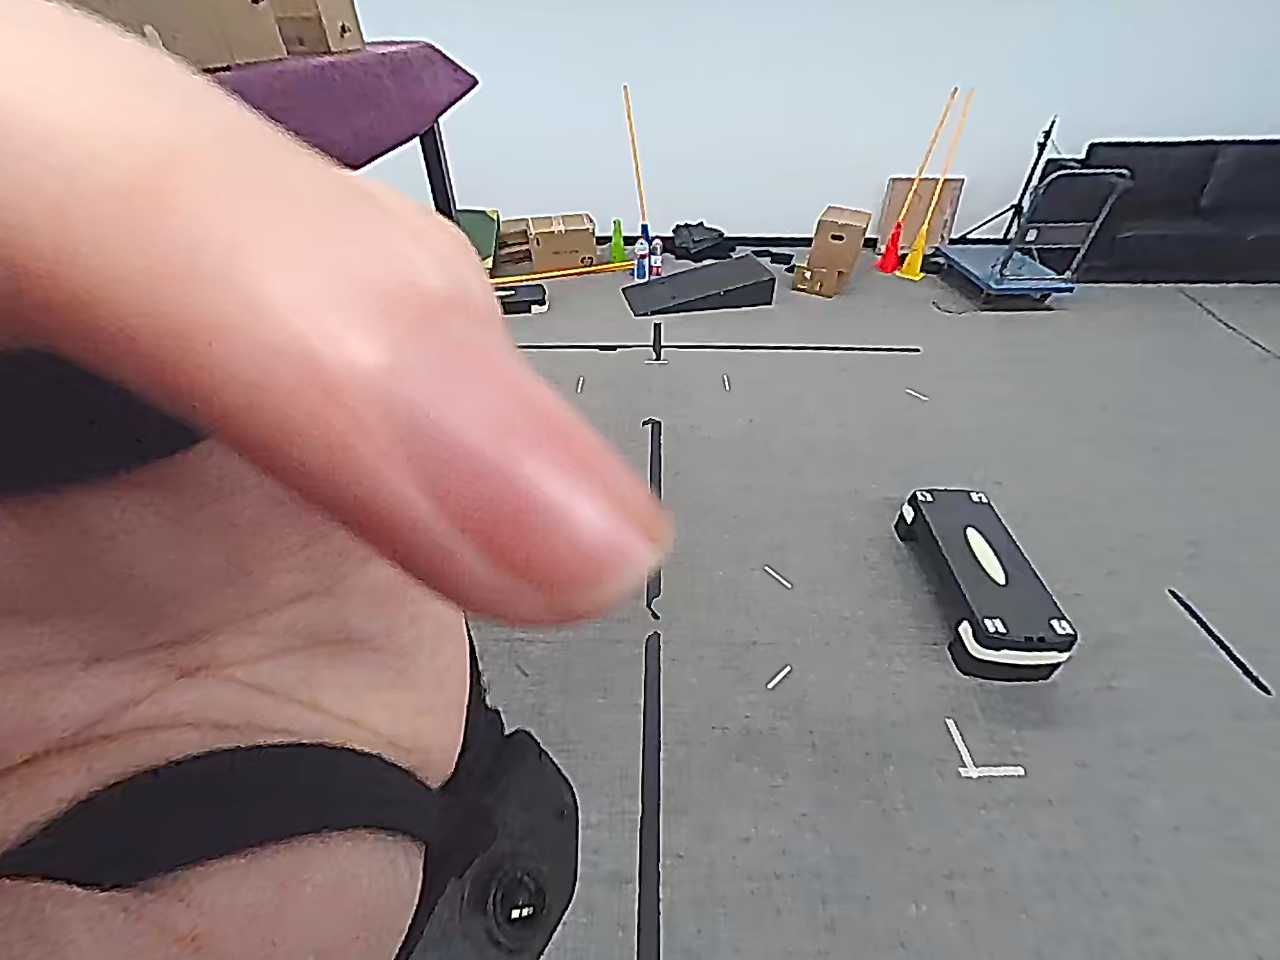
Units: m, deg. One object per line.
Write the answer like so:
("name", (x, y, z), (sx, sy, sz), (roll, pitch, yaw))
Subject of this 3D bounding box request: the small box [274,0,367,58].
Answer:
("small box", (-0.739, -1.053, 1.206), (0.168, 0.176, 0.179), (2, 40, 4))

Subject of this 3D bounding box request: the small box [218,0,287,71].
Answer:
("small box", (-0.754, -0.821, 0.936), (0.168, 0.176, 0.179), (1, 41, 2))
